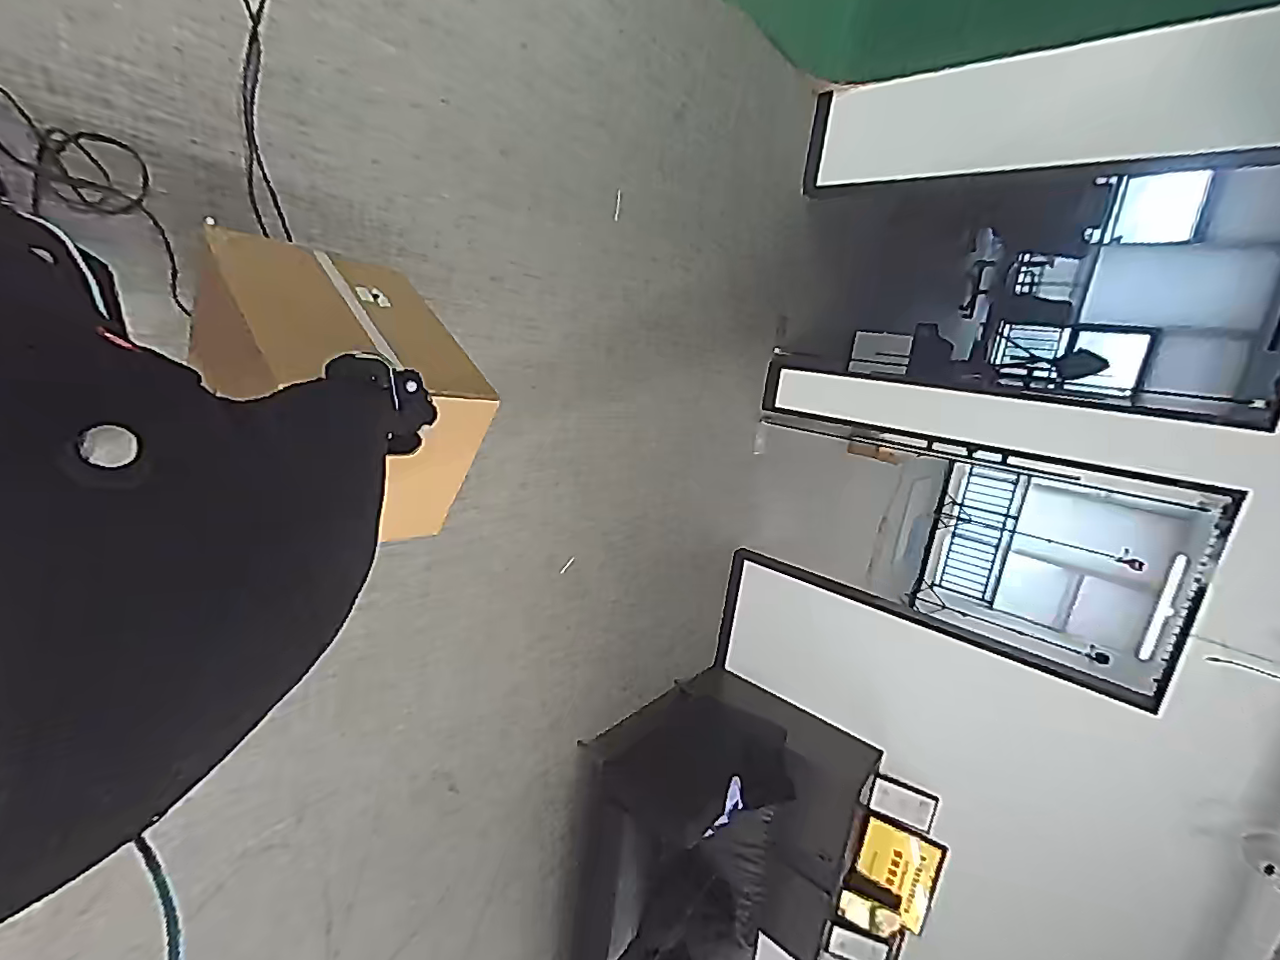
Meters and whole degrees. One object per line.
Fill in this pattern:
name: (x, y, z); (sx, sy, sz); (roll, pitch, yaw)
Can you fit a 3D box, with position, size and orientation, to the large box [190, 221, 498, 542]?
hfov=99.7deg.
large box: (-0.514, -0.158, 0.916); (0.320, 0.408, 0.320); (-4, 136, -51)
